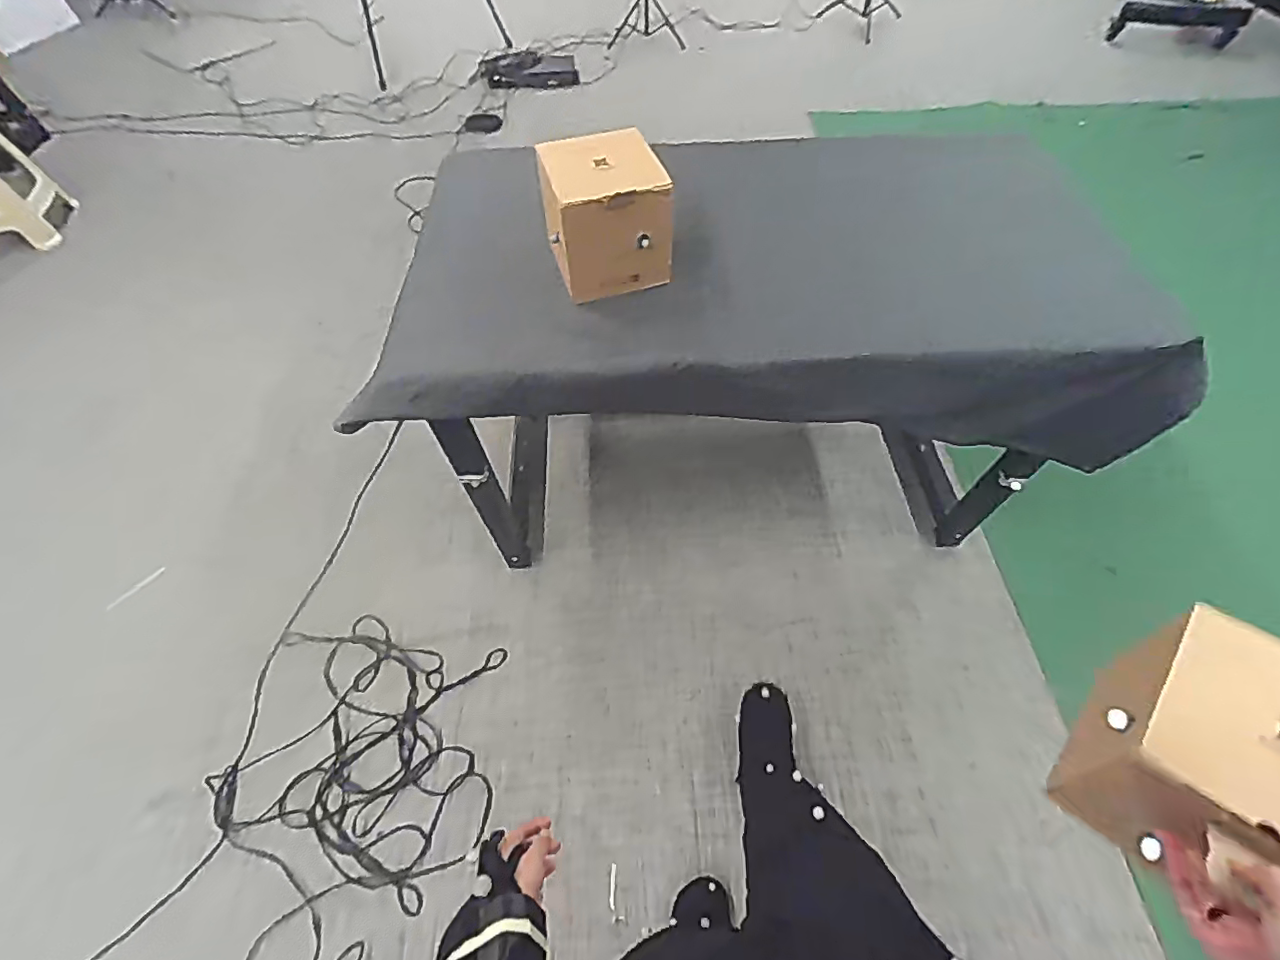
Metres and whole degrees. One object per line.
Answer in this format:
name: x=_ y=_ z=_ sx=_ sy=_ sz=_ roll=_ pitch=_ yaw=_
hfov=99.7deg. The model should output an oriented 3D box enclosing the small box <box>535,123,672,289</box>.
small box: x=-0.055 y=-0.417 z=0.842 sx=0.168 sy=0.176 sz=0.179 roll=-15 pitch=57 yaw=-11
